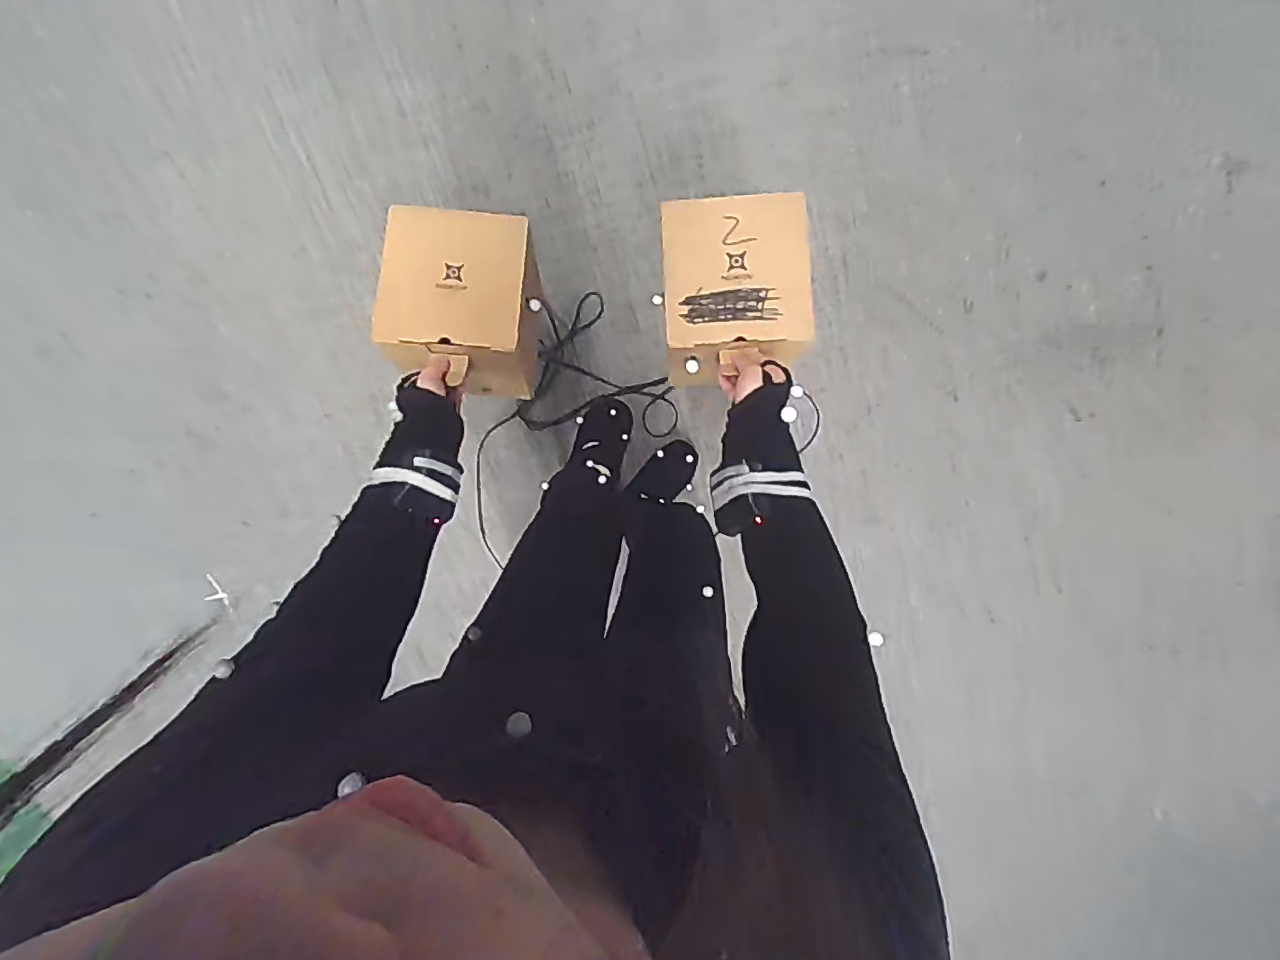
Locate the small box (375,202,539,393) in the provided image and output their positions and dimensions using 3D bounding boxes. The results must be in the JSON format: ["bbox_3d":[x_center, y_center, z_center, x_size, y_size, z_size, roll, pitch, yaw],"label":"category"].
[{"bbox_3d":[-0.229,-0.232,0.725,0.168,0.176,0.179,4,80,-5],"label":"small box"}]
